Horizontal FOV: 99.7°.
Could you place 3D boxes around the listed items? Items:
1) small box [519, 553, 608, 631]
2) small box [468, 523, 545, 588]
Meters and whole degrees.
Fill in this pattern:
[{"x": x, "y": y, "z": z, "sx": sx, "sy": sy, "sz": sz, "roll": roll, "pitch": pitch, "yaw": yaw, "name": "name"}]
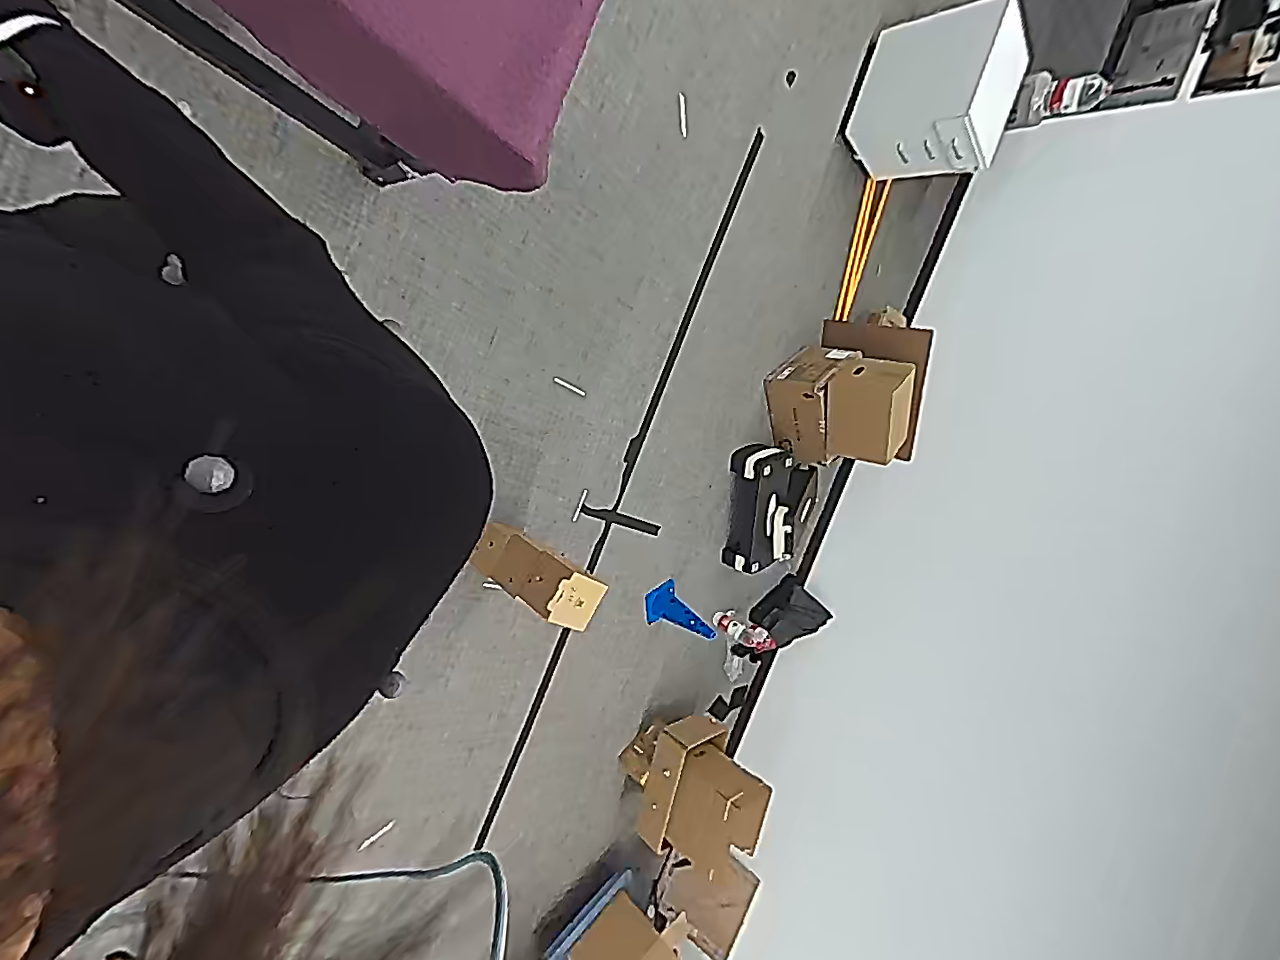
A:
[{"x": -0.243, "y": 0.351, "z": 1.706, "sx": 0.179, "sy": 0.176, "sz": 0.168, "roll": 36, "pitch": 80, "yaw": -46, "name": "small box"}, {"x": -0.479, "y": 0.266, "z": 1.921, "sx": 0.179, "sy": 0.176, "sz": 0.168, "roll": 27, "pitch": 87, "yaw": -47, "name": "small box"}]
